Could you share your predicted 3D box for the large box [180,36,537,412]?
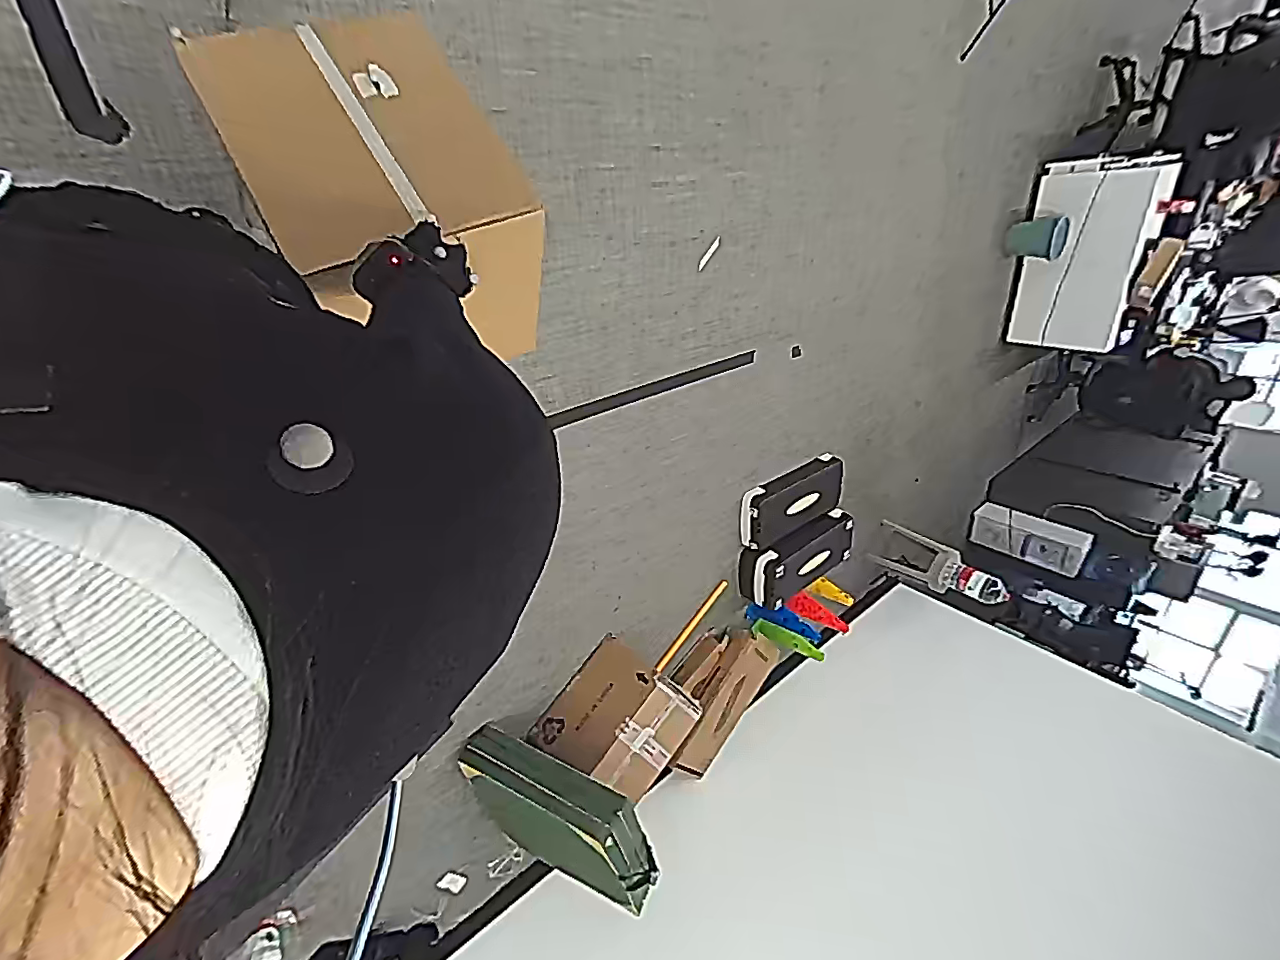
[{"bbox_3d":[-0.397,-0.388,0.850,0.320,0.408,0.320,-28,166,-23],"label":"large box"}]
